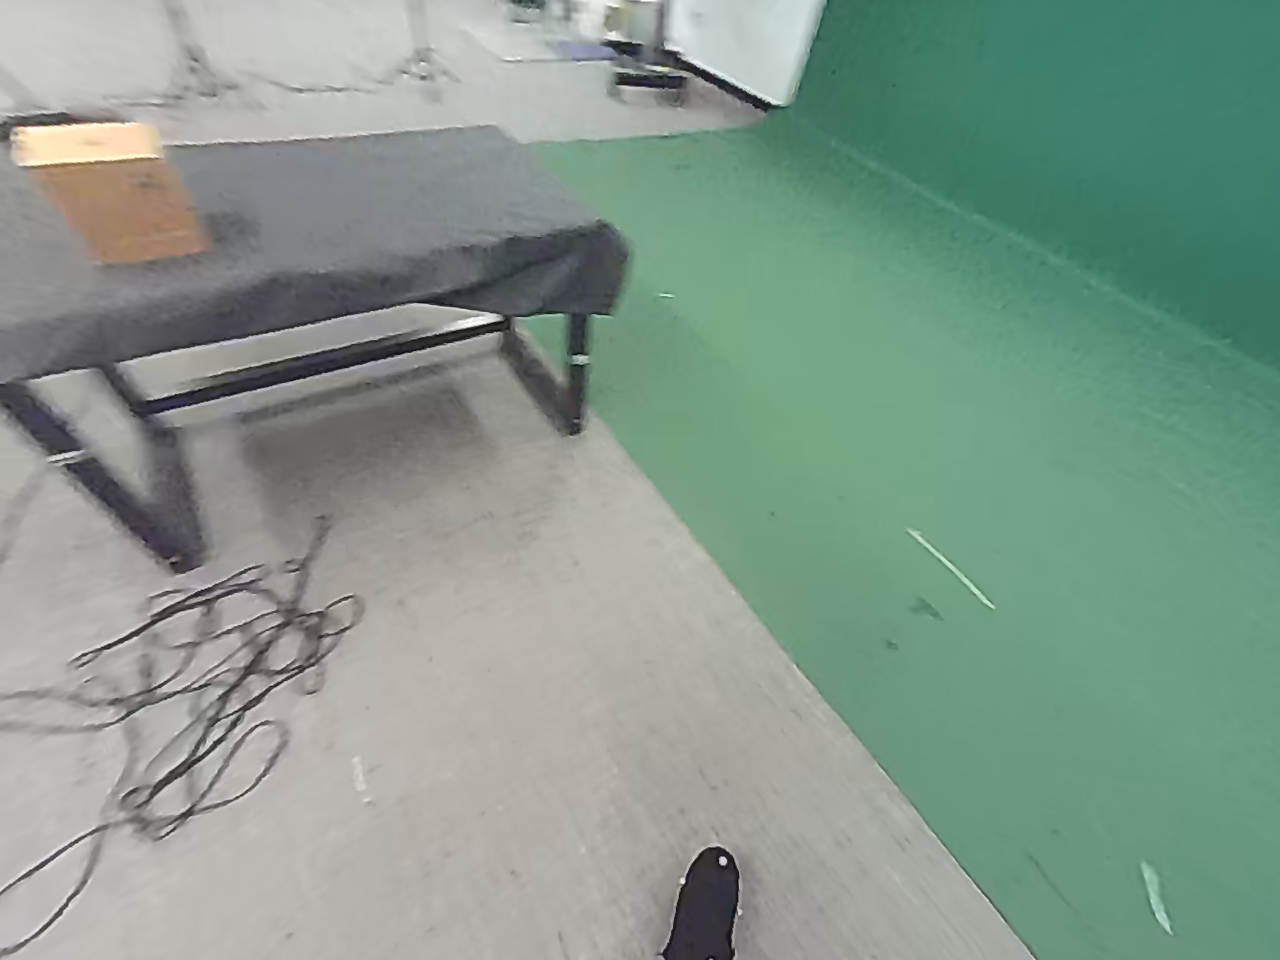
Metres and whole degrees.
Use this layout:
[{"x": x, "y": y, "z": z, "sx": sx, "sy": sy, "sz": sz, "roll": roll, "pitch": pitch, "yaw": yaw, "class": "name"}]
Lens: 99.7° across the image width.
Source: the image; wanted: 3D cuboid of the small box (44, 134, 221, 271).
[{"x": -0.905, "y": -0.499, "z": 0.976, "sx": 0.179, "sy": 0.176, "sz": 0.168, "roll": -23, "pitch": 56, "yaw": -26, "class": "small box"}]
